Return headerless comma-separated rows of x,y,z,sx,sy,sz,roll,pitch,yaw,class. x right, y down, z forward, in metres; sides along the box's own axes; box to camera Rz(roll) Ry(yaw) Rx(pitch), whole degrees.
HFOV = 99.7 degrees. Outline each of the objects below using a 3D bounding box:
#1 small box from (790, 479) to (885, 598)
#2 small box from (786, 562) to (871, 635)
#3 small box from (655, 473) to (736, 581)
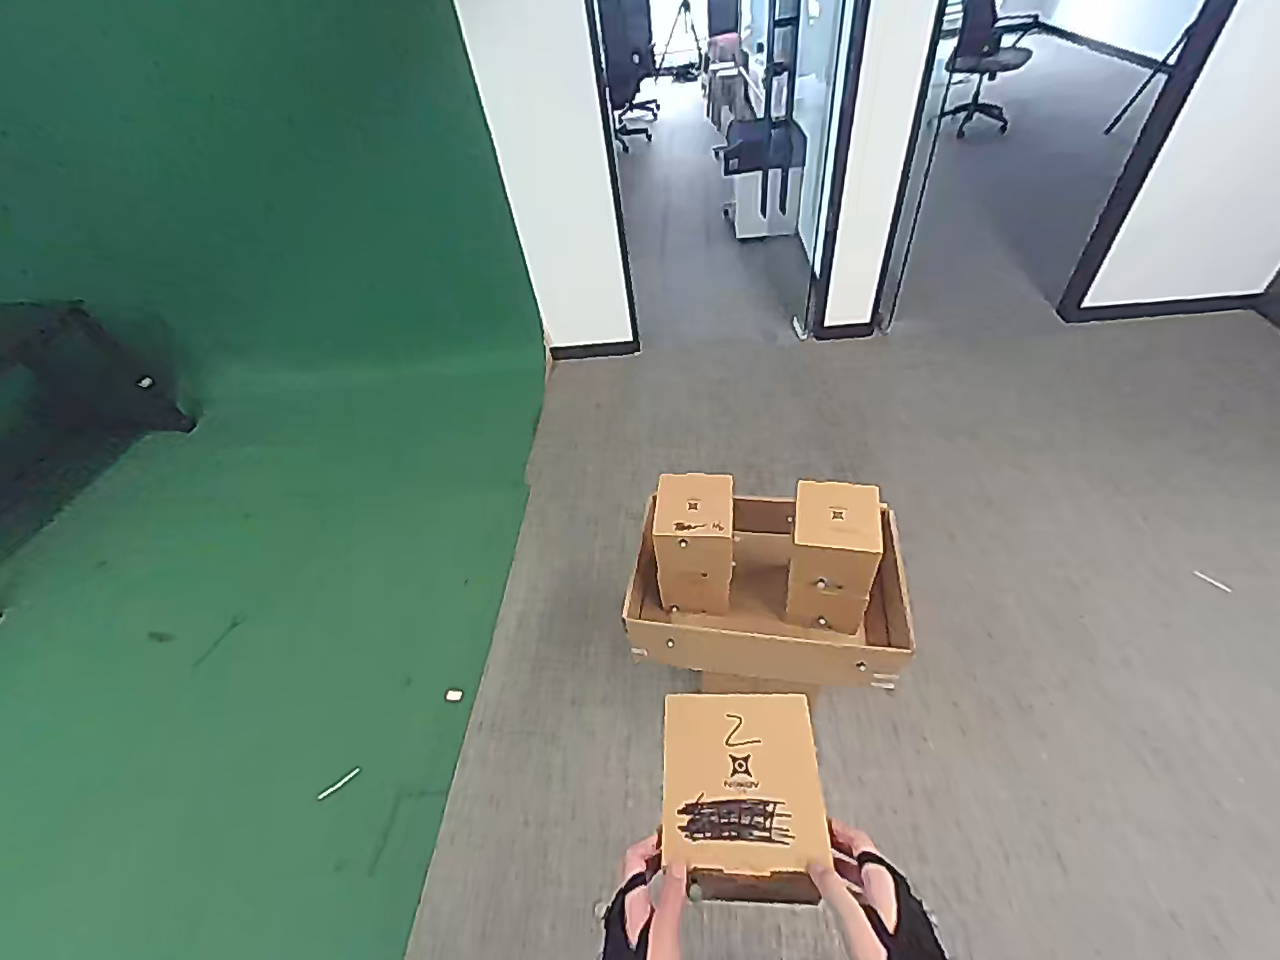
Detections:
0.414,0.124,1.151,0.168,0.176,0.179,5,48,14,small box
0.437,0.234,1.268,0.168,0.176,0.179,6,49,15,small box
0.129,0.104,1.212,0.168,0.176,0.179,1,47,10,small box
